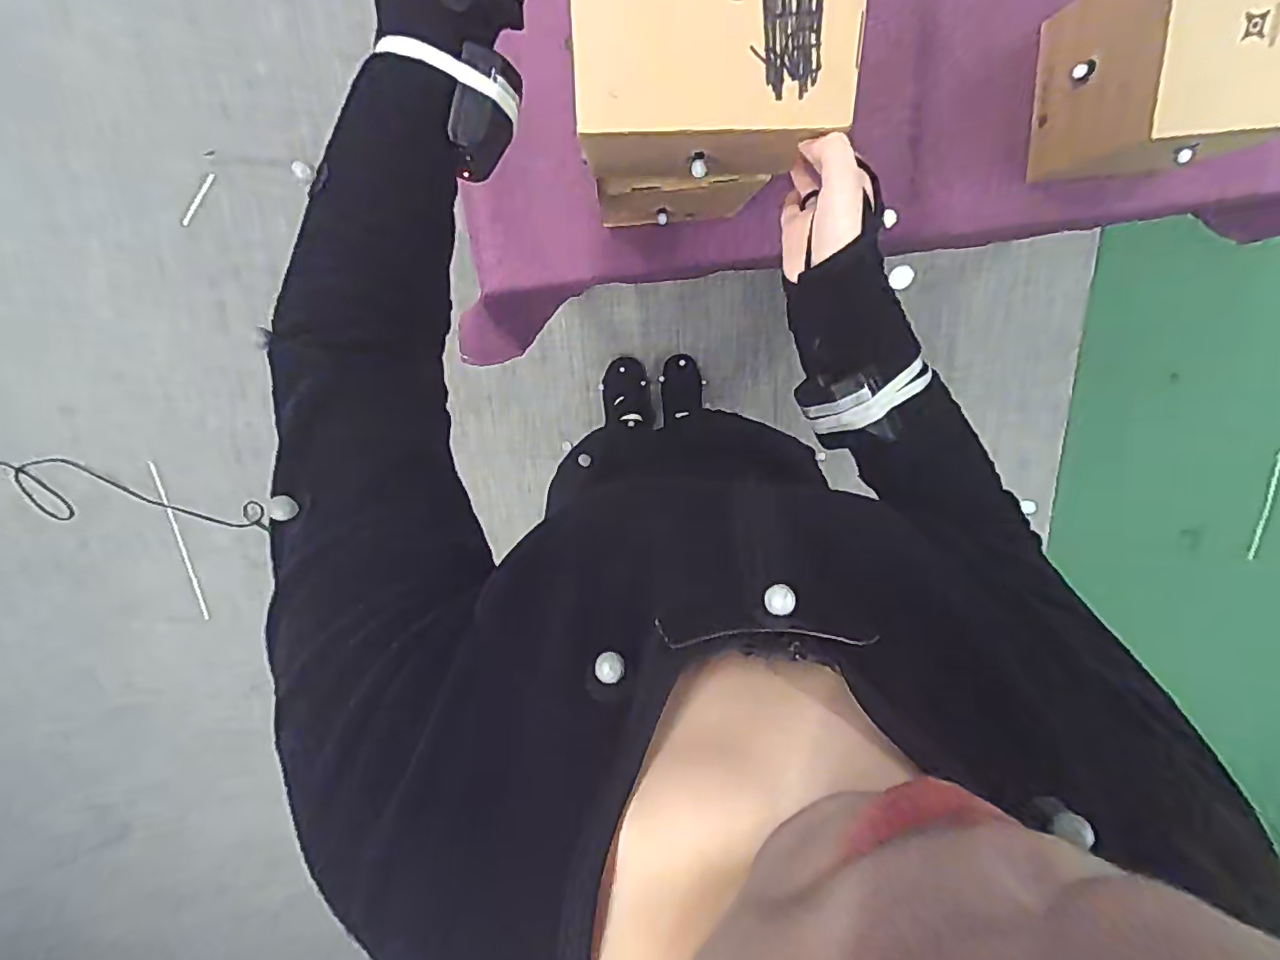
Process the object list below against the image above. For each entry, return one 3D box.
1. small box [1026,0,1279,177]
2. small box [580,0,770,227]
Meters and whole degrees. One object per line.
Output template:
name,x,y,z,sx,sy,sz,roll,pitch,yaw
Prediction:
small box,0.548,-0.431,0.565,0.179,0.176,0.168,-6,107,-1
small box,0.029,-0.377,0.561,0.168,0.176,0.179,-7,107,-1
